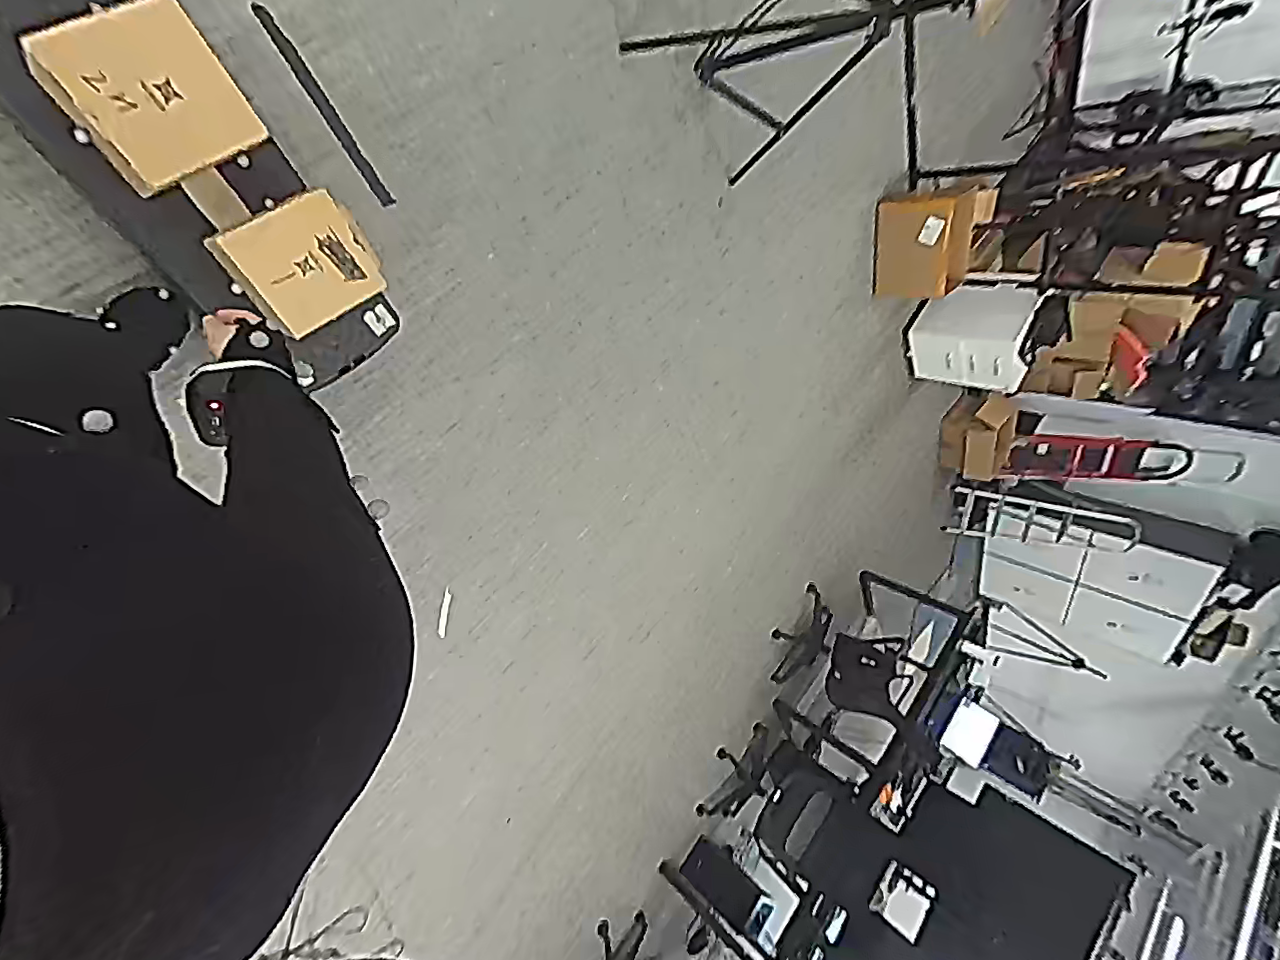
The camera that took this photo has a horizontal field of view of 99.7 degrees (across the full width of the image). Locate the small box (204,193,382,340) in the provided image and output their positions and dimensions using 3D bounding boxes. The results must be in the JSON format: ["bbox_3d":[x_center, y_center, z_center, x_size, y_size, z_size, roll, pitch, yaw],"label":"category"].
[{"bbox_3d":[-0.578,-0.358,0.901,0.179,0.176,0.168,-43,132,-23],"label":"small box"}]

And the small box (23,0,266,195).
[{"bbox_3d":[-0.669,-0.513,0.741,0.179,0.176,0.168,-45,133,-23],"label":"small box"}]

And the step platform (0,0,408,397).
[{"bbox_3d":[-0.732,-0.482,0.951,0.286,0.204,0.684,-46,133,-23],"label":"step platform"}]
